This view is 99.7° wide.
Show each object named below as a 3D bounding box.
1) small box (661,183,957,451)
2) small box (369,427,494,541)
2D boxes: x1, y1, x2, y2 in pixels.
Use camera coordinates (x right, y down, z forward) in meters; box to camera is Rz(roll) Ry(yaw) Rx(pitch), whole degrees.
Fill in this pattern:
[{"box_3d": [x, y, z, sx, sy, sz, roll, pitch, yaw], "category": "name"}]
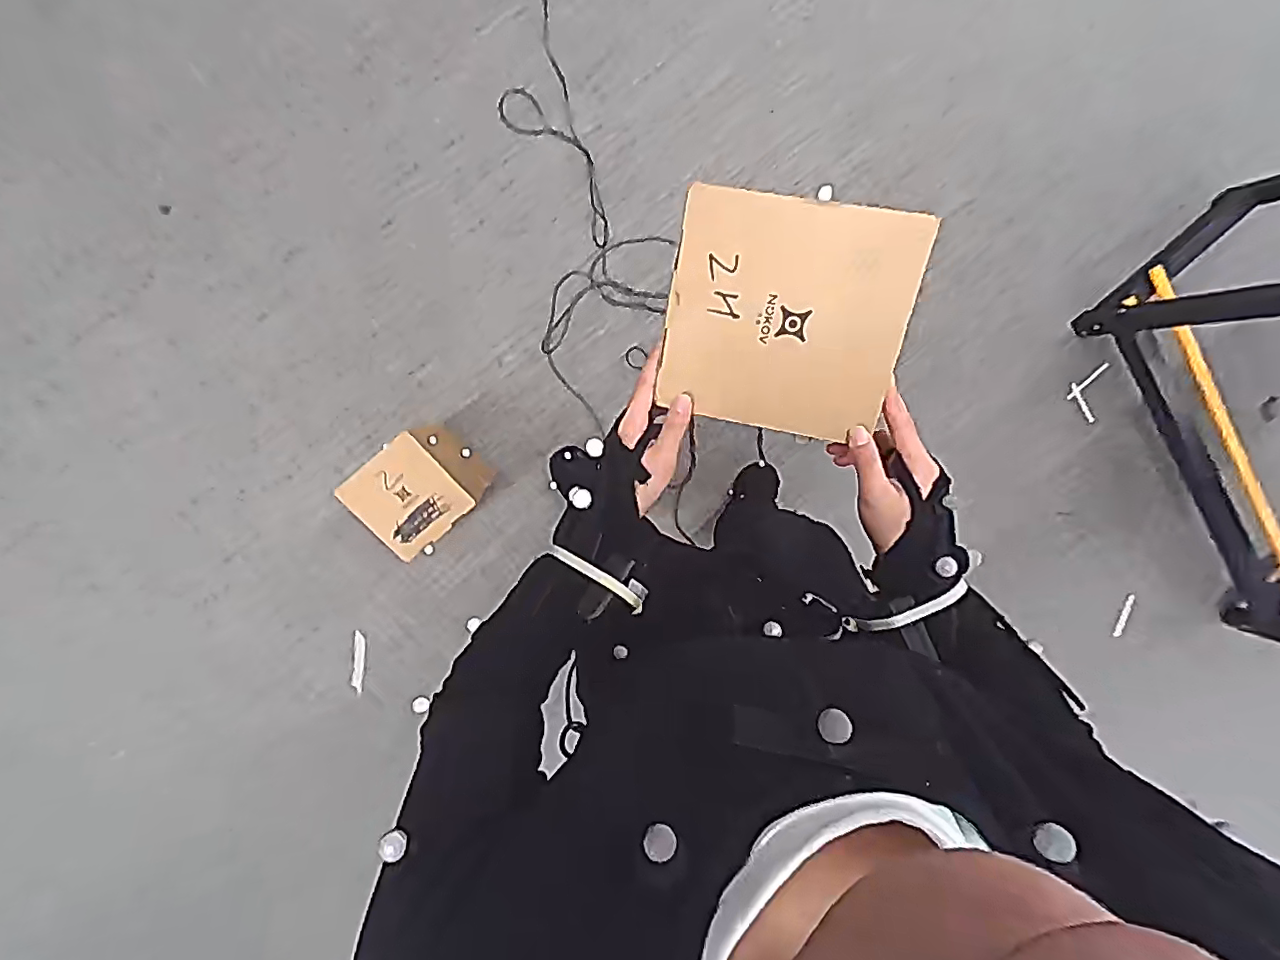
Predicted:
[{"box_3d": [0.130, -0.139, 0.468, 0.179, 0.176, 0.168, 13, 109, 9], "category": "small box"}, {"box_3d": [-0.439, 0.000, 1.169, 0.168, 0.176, 0.179, -46, 104, 0], "category": "small box"}]
